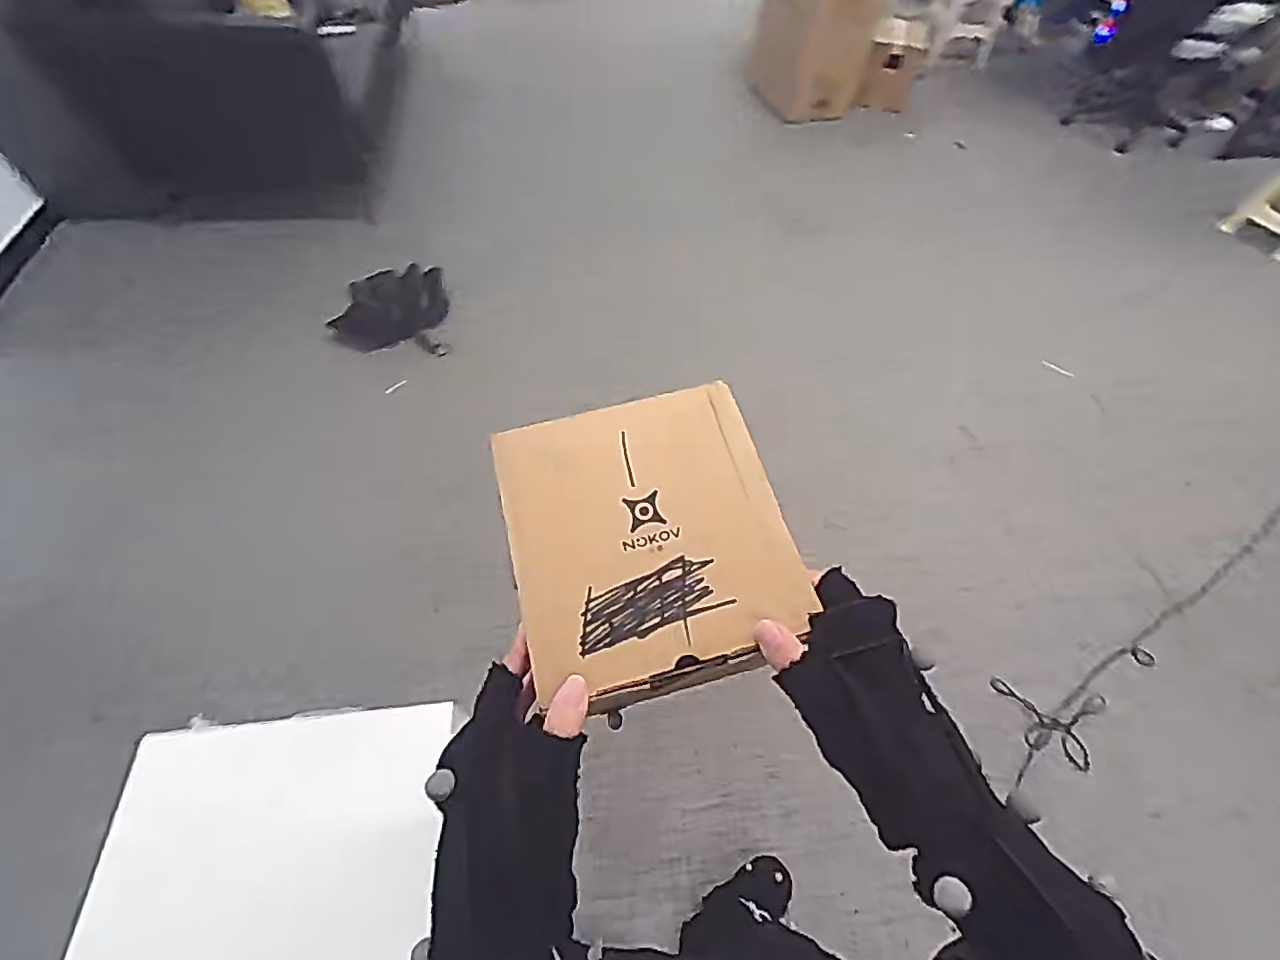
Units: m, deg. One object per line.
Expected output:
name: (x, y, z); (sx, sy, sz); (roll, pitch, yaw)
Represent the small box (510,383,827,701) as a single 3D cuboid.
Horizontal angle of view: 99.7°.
small box: (0.012, 0.059, 0.407); (0.168, 0.176, 0.179); (-13, 65, -5)
